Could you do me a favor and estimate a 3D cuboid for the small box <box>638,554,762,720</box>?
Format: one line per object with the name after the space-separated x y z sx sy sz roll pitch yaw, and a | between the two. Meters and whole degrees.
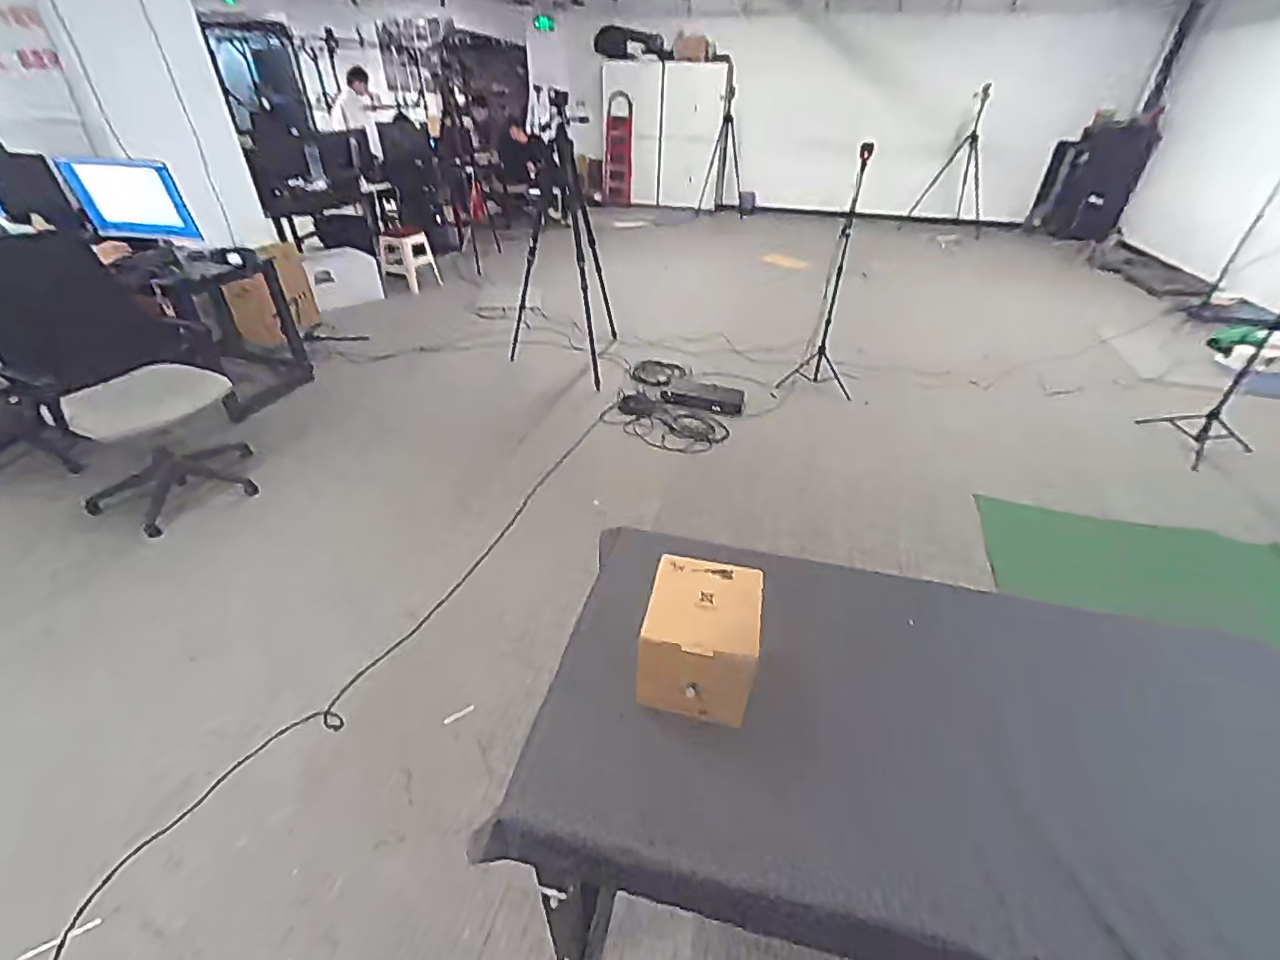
0.097 0.248 0.859 0.168 0.176 0.179 9 37 10 | small box
